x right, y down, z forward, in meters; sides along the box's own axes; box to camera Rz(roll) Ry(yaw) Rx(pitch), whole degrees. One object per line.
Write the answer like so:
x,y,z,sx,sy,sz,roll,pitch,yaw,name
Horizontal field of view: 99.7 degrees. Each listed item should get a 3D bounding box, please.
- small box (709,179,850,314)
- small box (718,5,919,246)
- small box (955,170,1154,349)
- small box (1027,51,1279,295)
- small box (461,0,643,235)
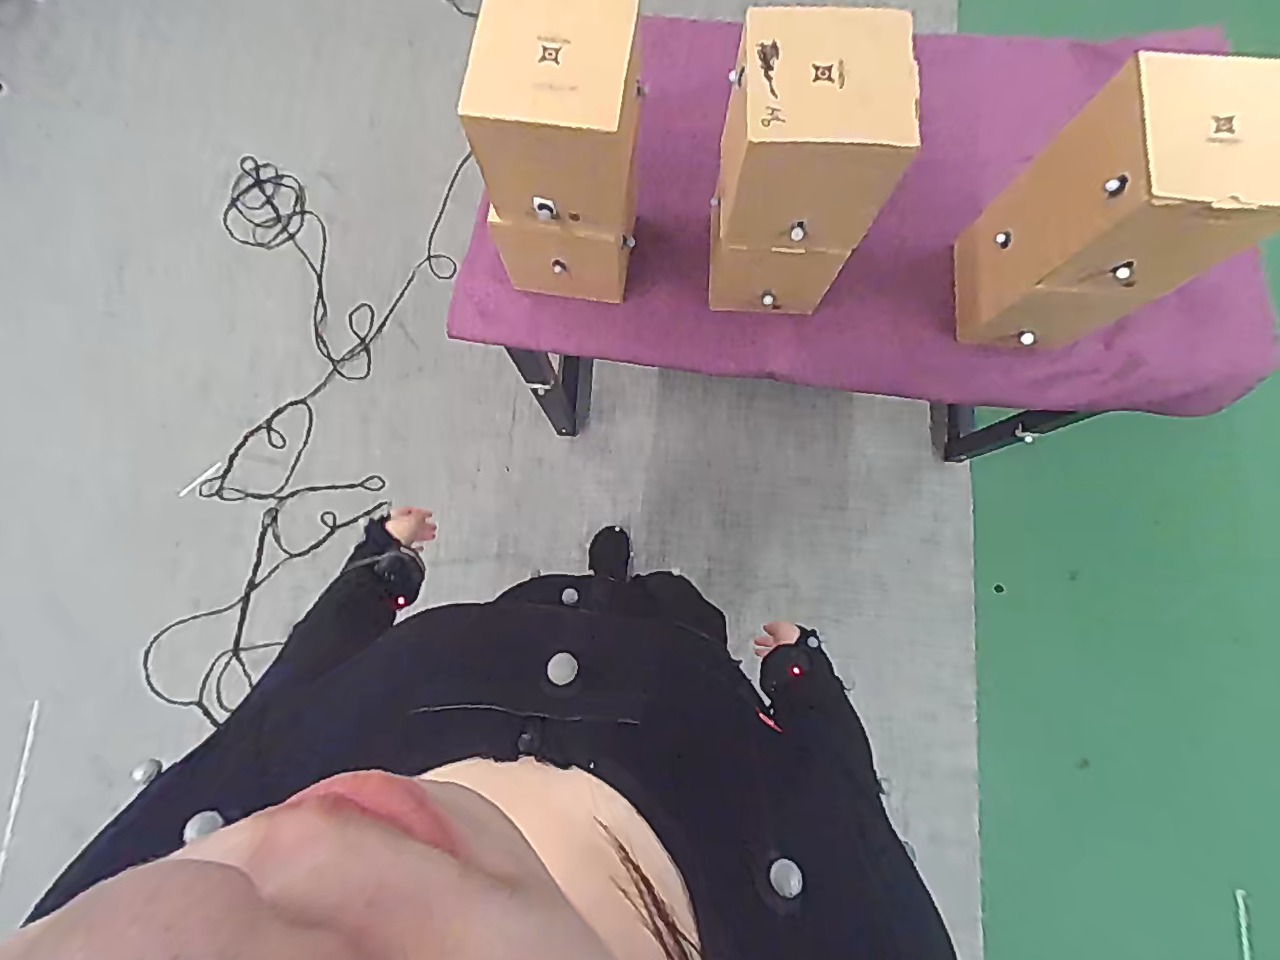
0.194,-0.368,0.792,0.168,0.176,0.179,2,80,1,small box
0.194,-0.395,0.630,0.179,0.176,0.168,2,79,-1,small box
0.584,-0.311,0.787,0.168,0.176,0.179,4,81,0,small box
0.587,-0.342,0.628,0.168,0.176,0.179,4,80,0,small box
-0.089,-0.423,0.632,0.168,0.176,0.179,7,80,2,small box
